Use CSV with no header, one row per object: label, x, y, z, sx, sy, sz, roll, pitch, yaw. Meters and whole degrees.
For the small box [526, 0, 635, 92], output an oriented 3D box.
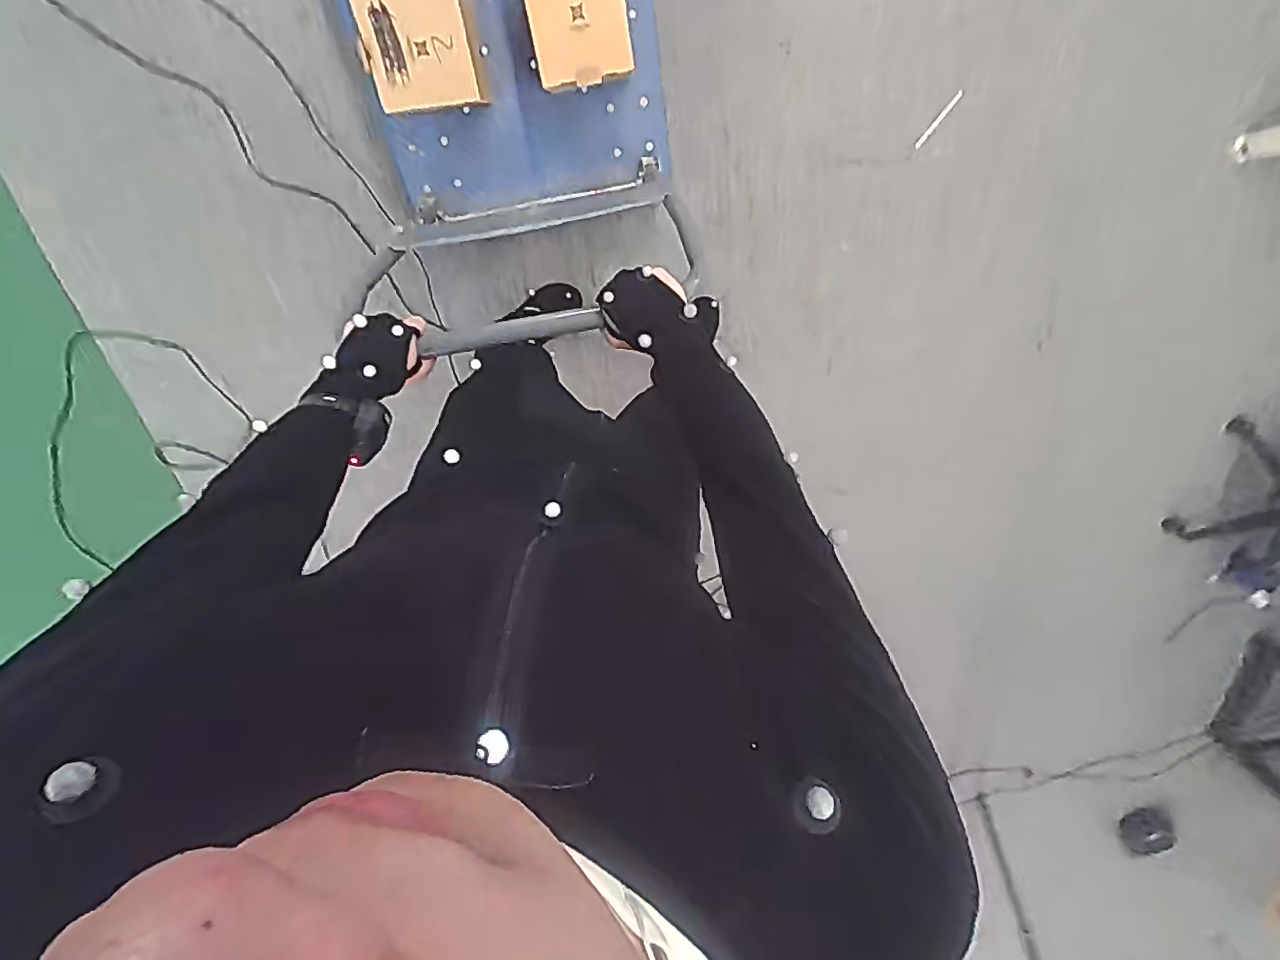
small box,-0.108,-0.813,0.963,0.168,0.176,0.179,-11,126,2
